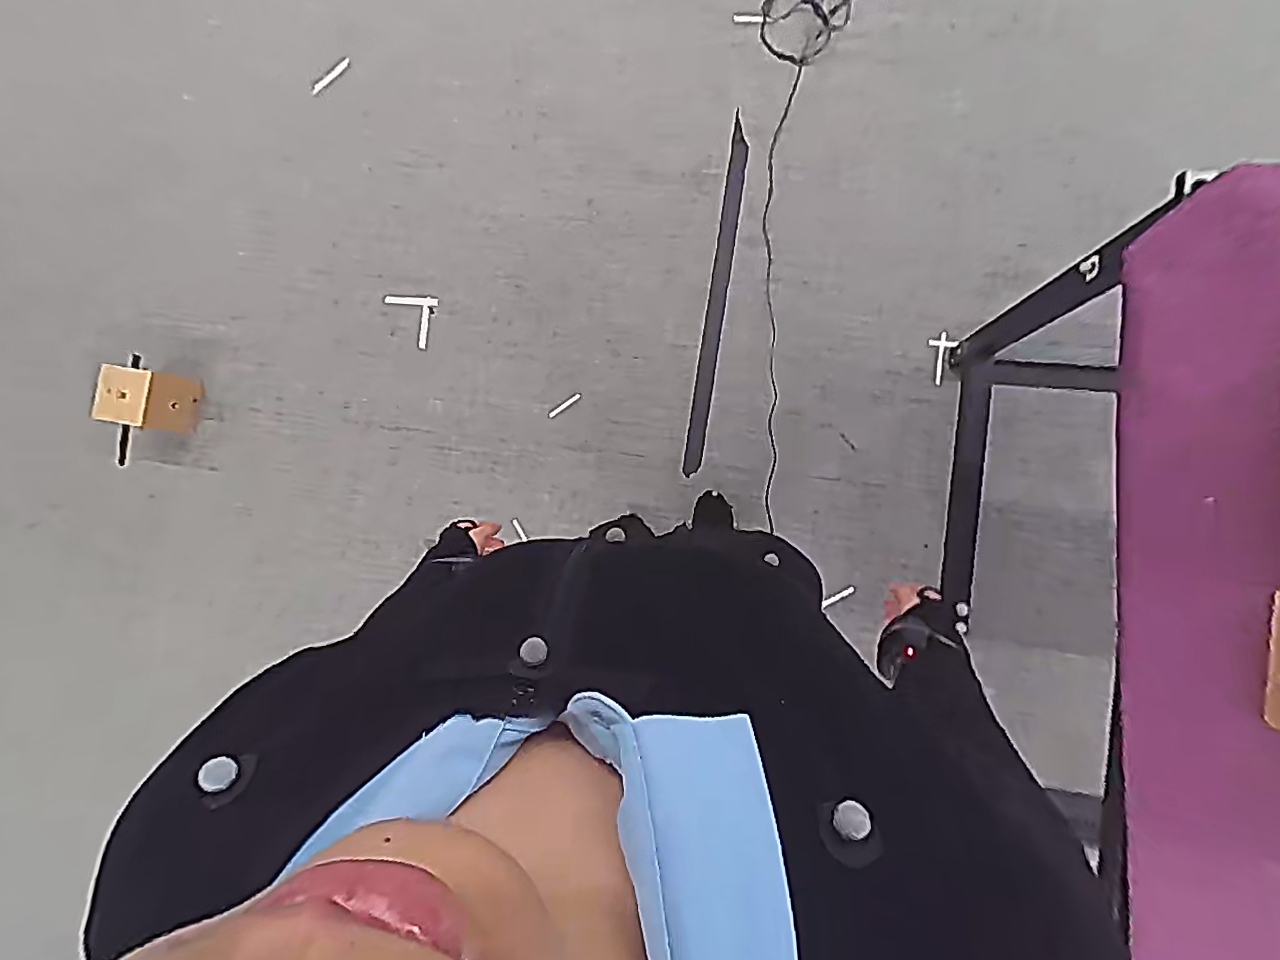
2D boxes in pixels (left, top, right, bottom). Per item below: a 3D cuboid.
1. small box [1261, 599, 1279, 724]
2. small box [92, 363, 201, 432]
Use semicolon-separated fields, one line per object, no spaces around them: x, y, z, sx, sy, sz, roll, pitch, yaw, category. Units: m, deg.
0.842;0.219;0.570;0.179;0.176;0.168;6;88;8;small box
-1.498;-0.245;1.651;0.179;0.176;0.168;10;89;9;small box
